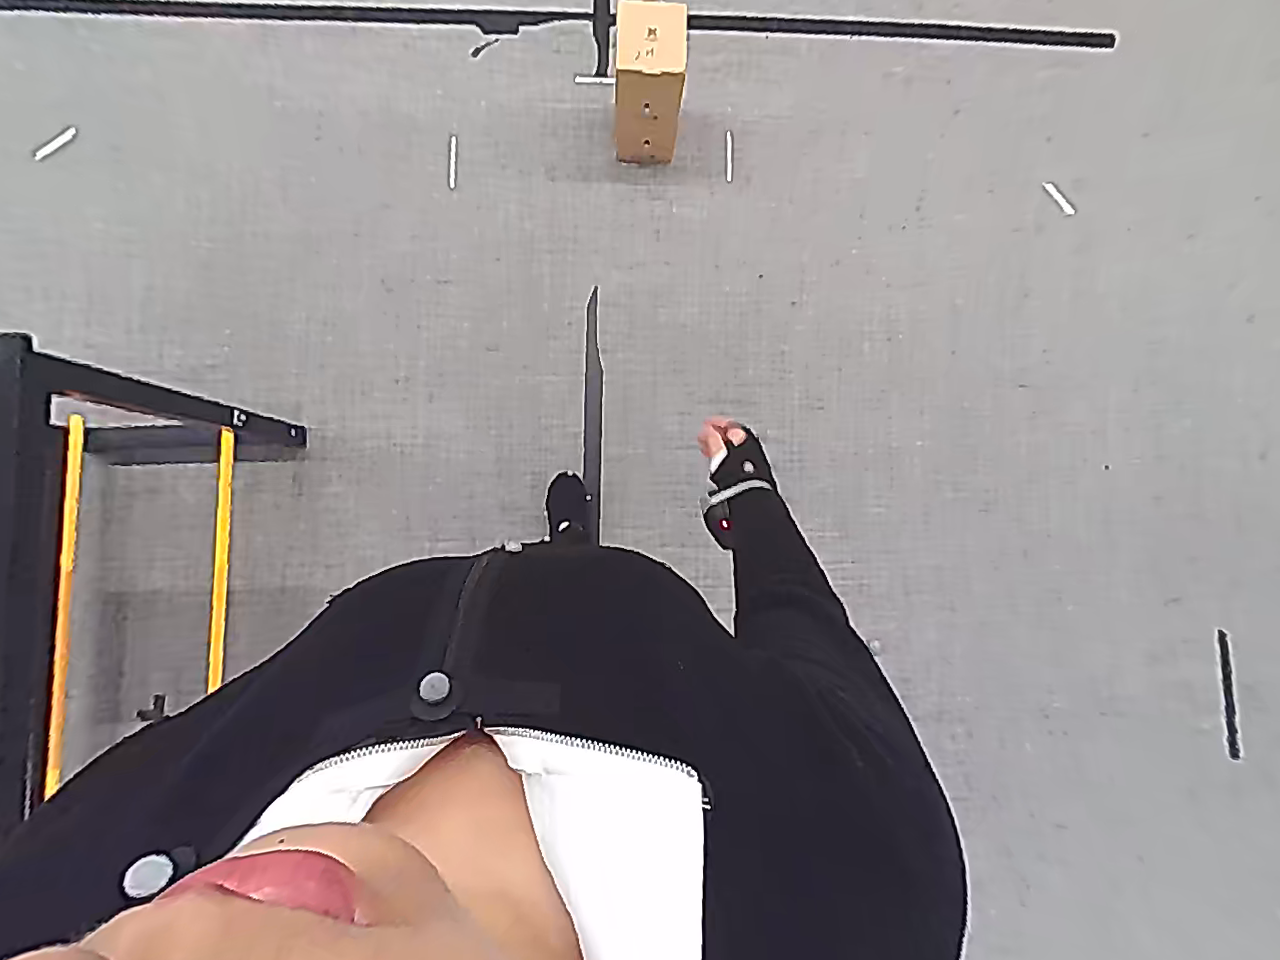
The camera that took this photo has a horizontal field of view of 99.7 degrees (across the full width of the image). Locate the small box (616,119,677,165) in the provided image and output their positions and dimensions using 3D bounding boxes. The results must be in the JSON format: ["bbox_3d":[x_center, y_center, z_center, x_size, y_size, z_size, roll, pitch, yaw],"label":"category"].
[{"bbox_3d":[0.017,-1.013,1.512,0.168,0.176,0.179,0,86,-3],"label":"small box"}]

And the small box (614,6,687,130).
[{"bbox_3d":[0.022,-1.018,1.346,0.168,0.176,0.179,2,86,-3],"label":"small box"}]
